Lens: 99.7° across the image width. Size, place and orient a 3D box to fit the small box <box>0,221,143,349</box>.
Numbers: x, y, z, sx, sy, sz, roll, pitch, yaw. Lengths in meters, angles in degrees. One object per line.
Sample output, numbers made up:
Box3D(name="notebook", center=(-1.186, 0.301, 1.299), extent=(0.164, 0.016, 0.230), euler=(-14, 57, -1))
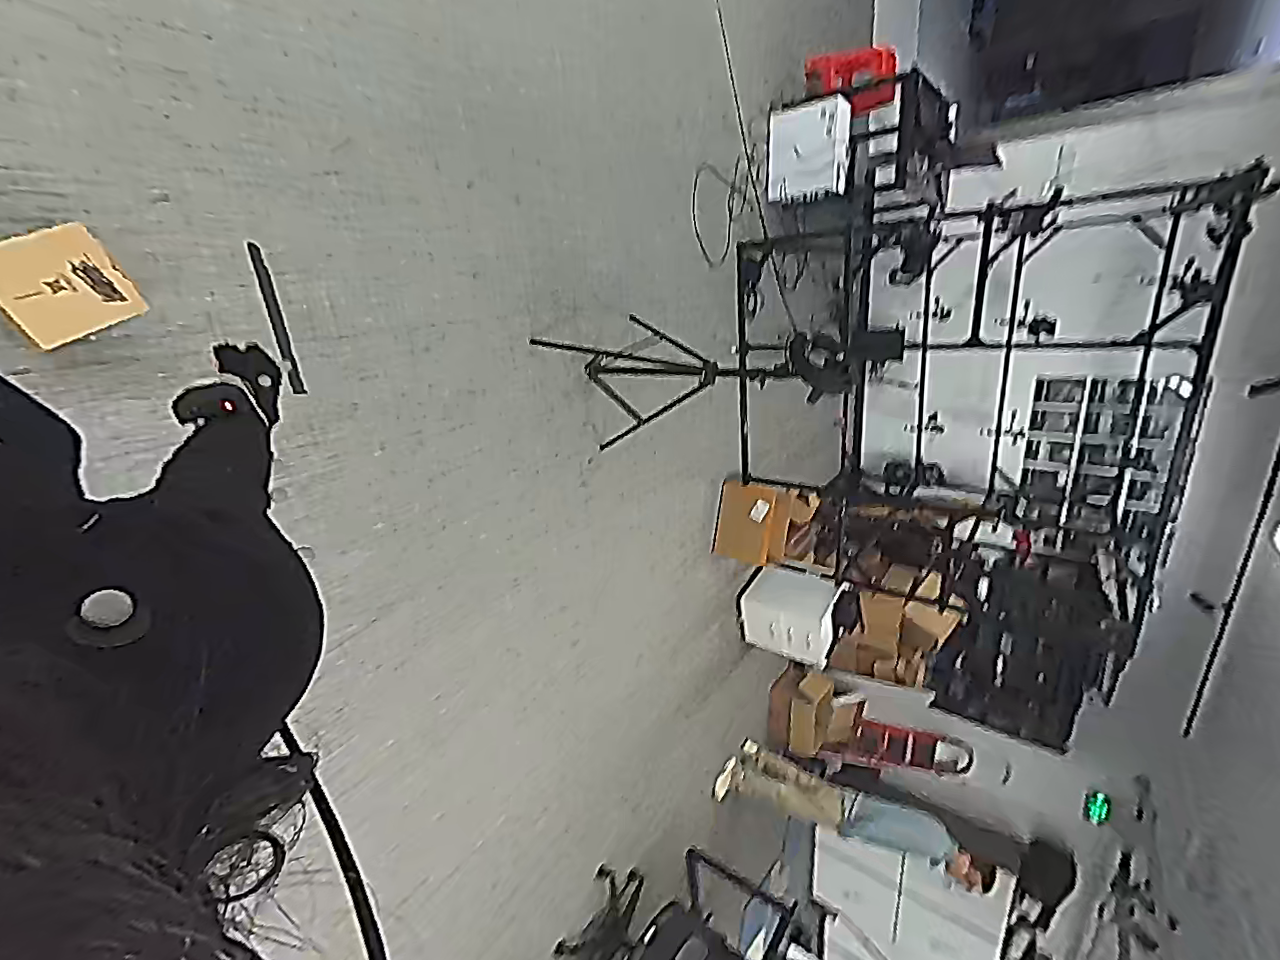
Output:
Box3D(name="small box", center=(-1.067, -0.348, 0.971), extent=(0.179, 0.176, 0.168), euler=(-47, 132, -36))
